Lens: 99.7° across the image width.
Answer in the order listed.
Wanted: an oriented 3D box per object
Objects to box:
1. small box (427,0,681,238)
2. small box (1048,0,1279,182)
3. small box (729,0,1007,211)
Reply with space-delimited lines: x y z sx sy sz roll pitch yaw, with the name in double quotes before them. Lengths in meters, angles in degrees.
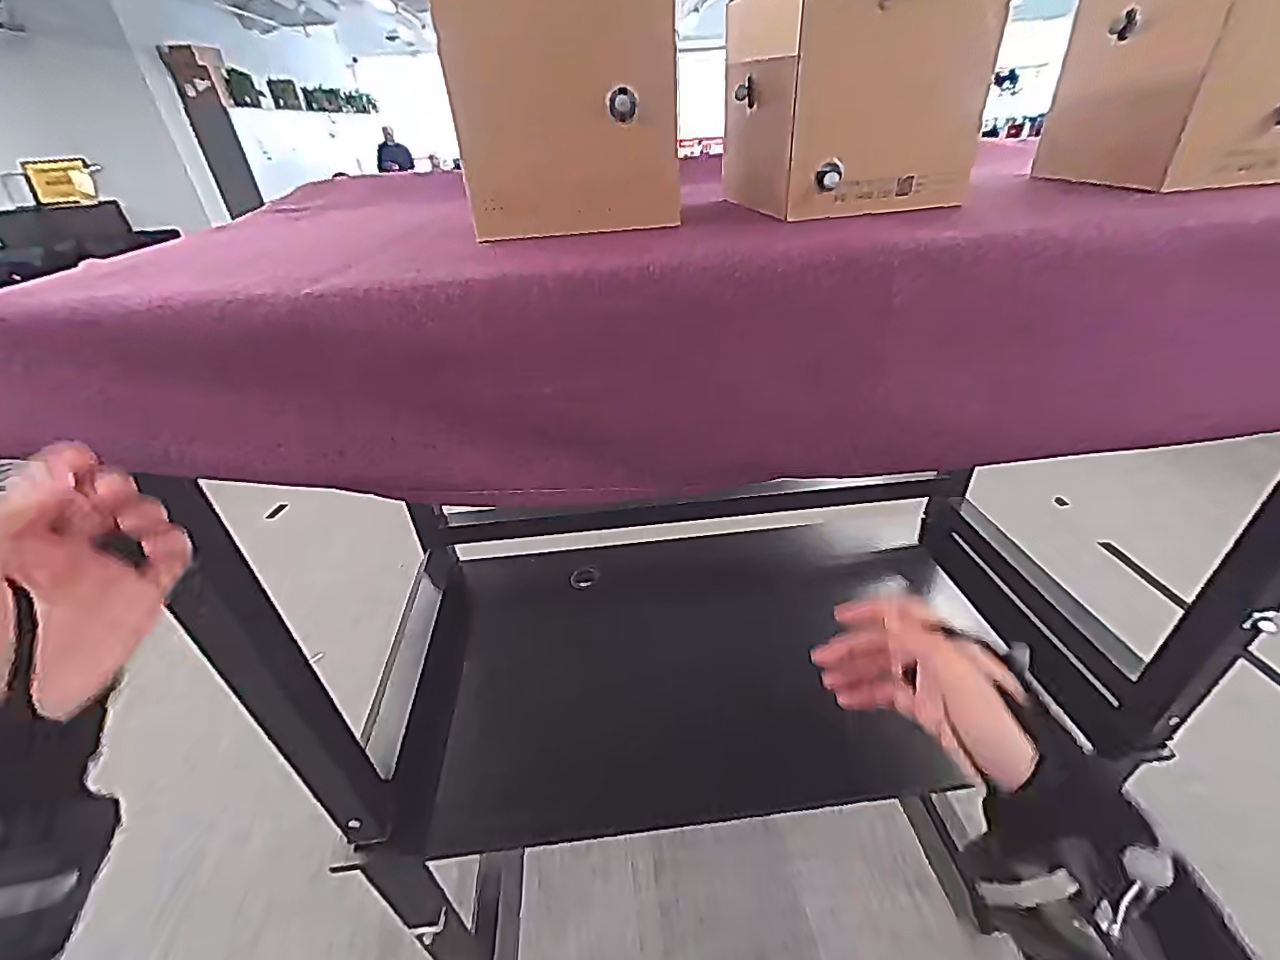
"small box" -0.062 -0.318 0.470 0.179 0.176 0.168 -6 33 -3
"small box" 0.513 -0.364 0.474 0.168 0.176 0.179 -4 33 1
"small box" 0.182 -0.338 0.473 0.168 0.176 0.179 -8 33 -7
